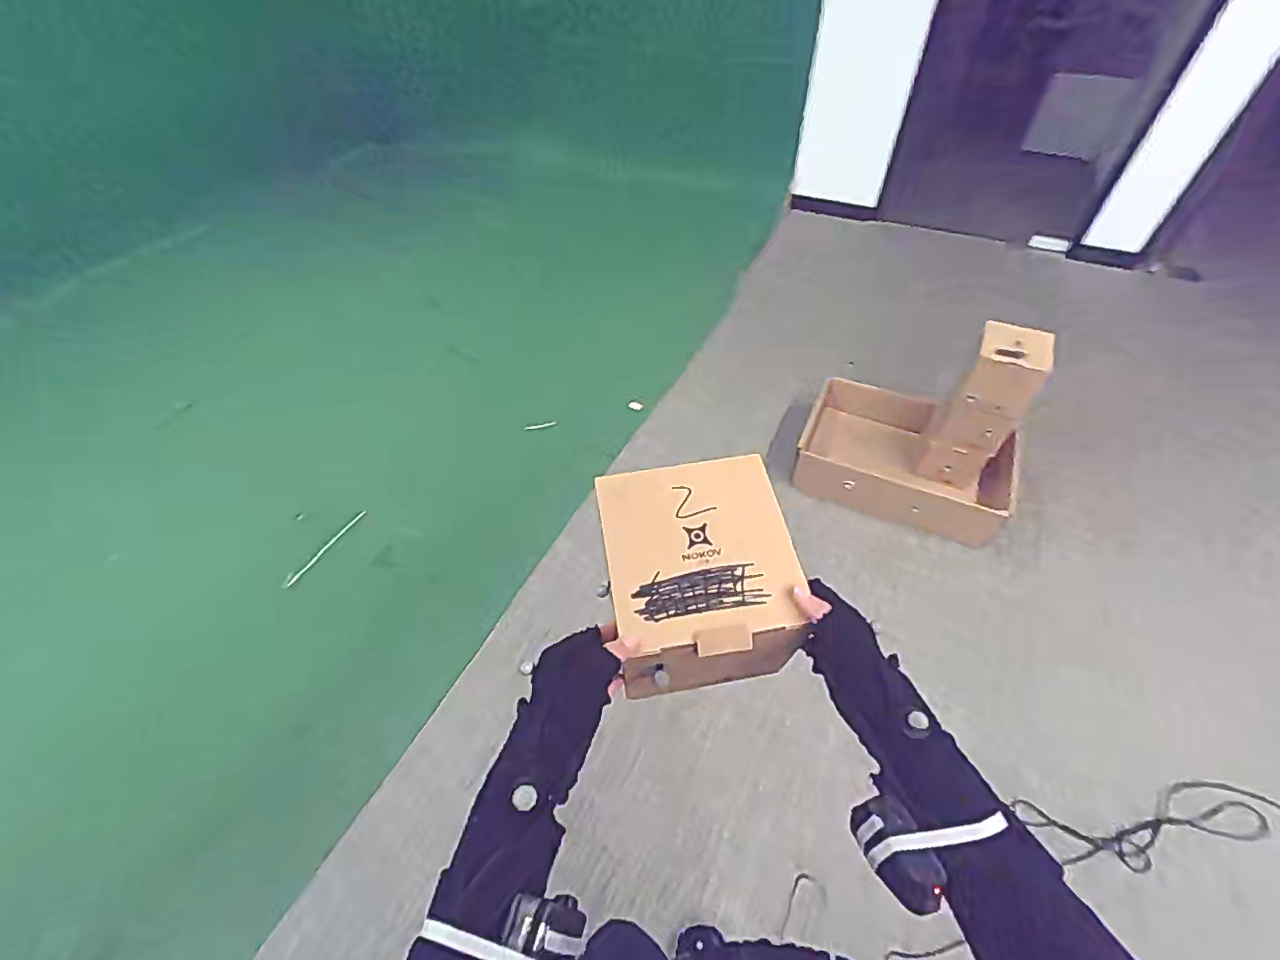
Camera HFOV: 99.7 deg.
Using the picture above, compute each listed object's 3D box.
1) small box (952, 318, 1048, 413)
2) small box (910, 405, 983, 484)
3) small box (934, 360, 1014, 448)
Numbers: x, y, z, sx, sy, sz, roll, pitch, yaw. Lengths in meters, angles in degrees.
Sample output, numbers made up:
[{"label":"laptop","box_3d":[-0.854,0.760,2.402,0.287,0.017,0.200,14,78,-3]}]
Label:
[{"label":"small box","box_3d":[0.984,-0.311,1.487,0.168,0.176,0.179,20,55,18]},{"label":"small box","box_3d":[0.990,-0.112,1.750,0.168,0.176,0.179,15,53,16]},{"label":"small box","box_3d":[0.995,-0.223,1.605,0.168,0.176,0.179,19,55,18]}]
